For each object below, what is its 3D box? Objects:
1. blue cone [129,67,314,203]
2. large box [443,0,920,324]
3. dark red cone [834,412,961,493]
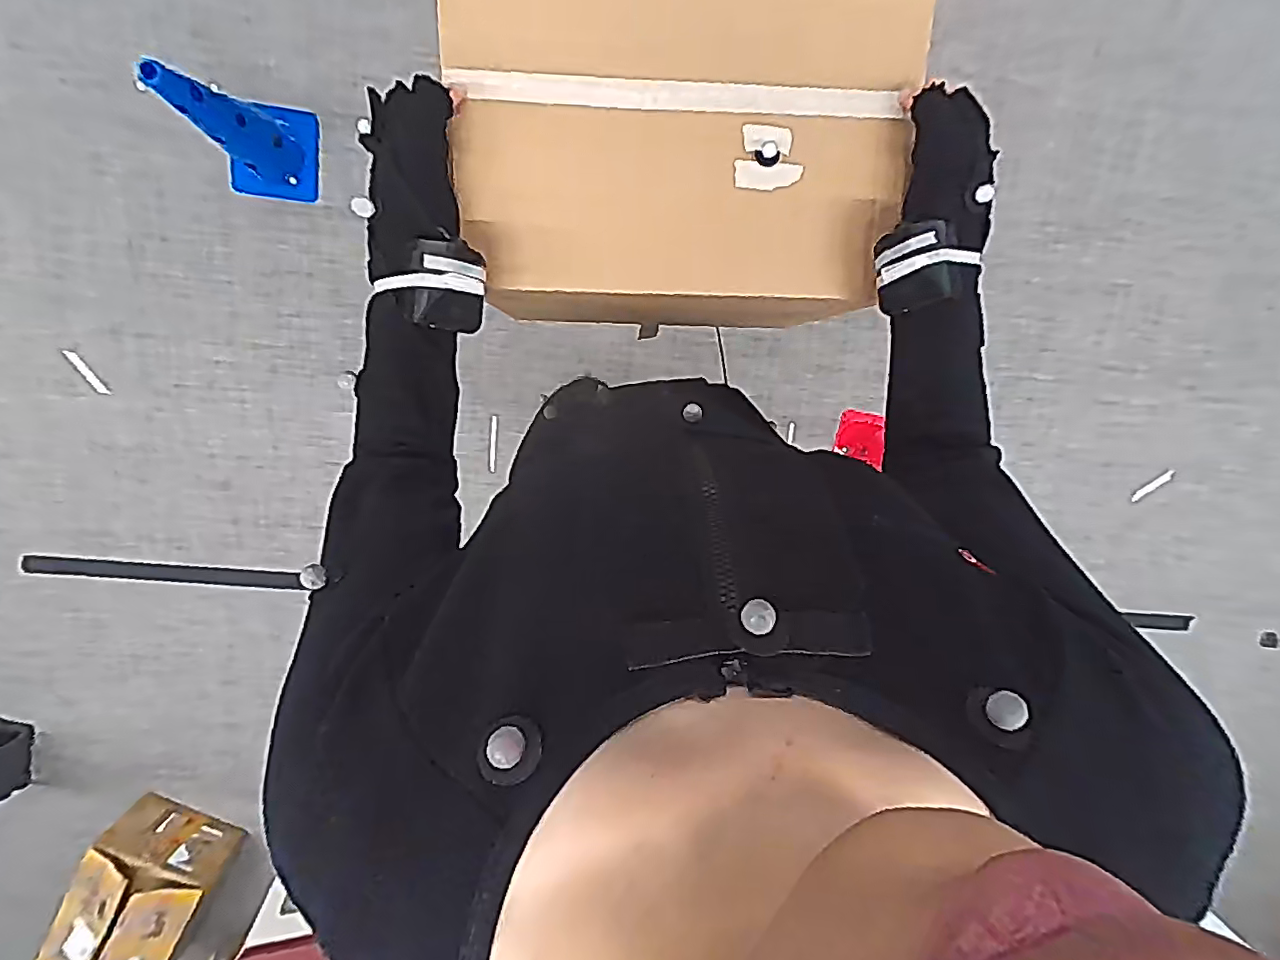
[{"bbox_3d":[-0.870,-0.737,1.125,0.192,0.380,0.193,8,100,-3],"label":"blue cone"},{"bbox_3d":[0.026,-0.349,0.605,0.408,0.320,0.320,0,101,-5],"label":"large box"},{"bbox_3d":[0.639,-0.041,1.300,0.201,0.394,0.202,10,100,-4],"label":"dark red cone"}]
